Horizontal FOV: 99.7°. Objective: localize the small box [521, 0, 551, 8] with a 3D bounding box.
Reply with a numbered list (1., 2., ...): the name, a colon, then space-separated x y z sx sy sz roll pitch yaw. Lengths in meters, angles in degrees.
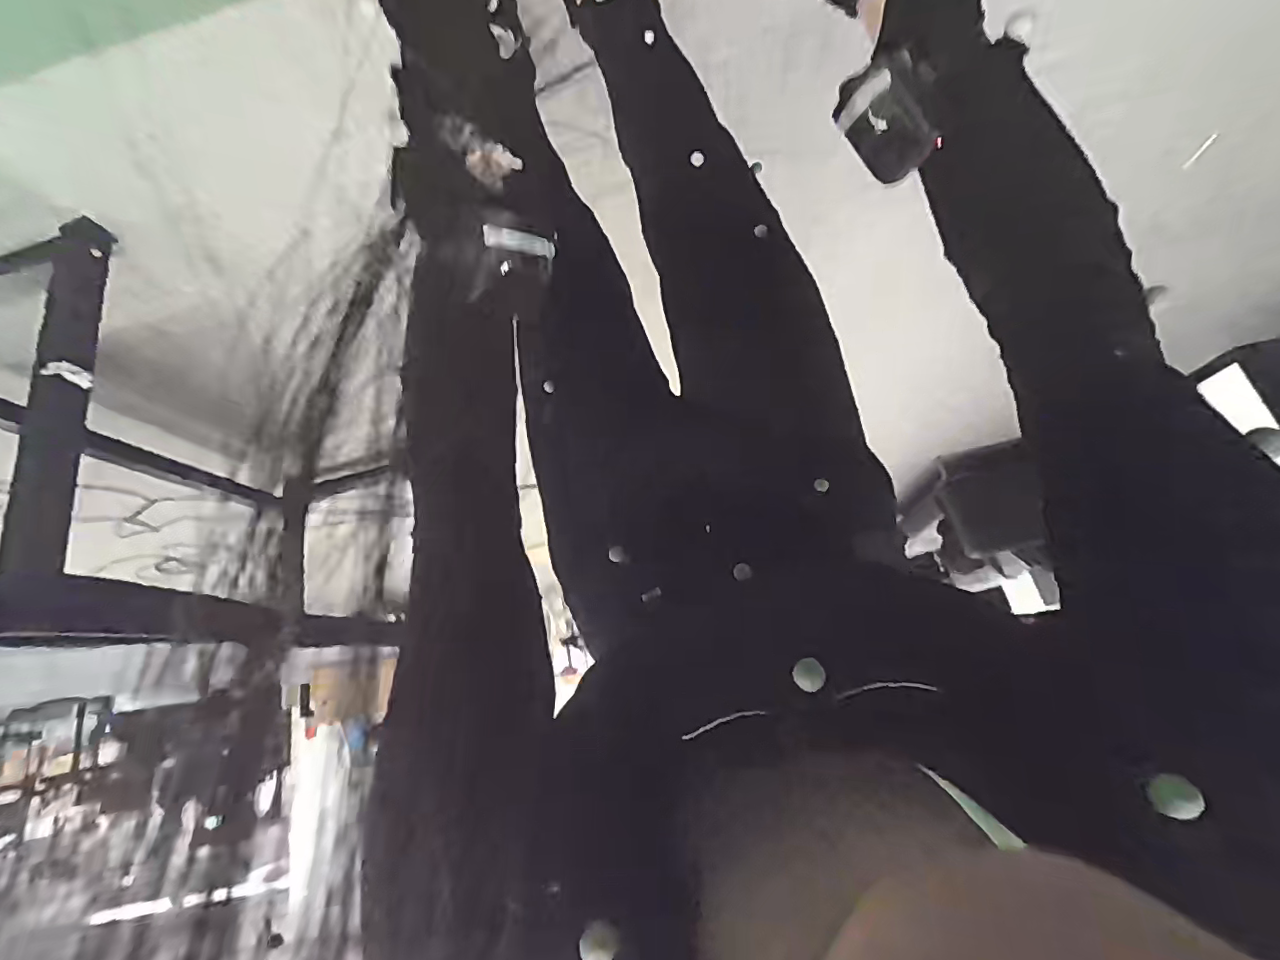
1. small box: -0.036 -0.408 0.301 0.168 0.176 0.179 -19 127 4
